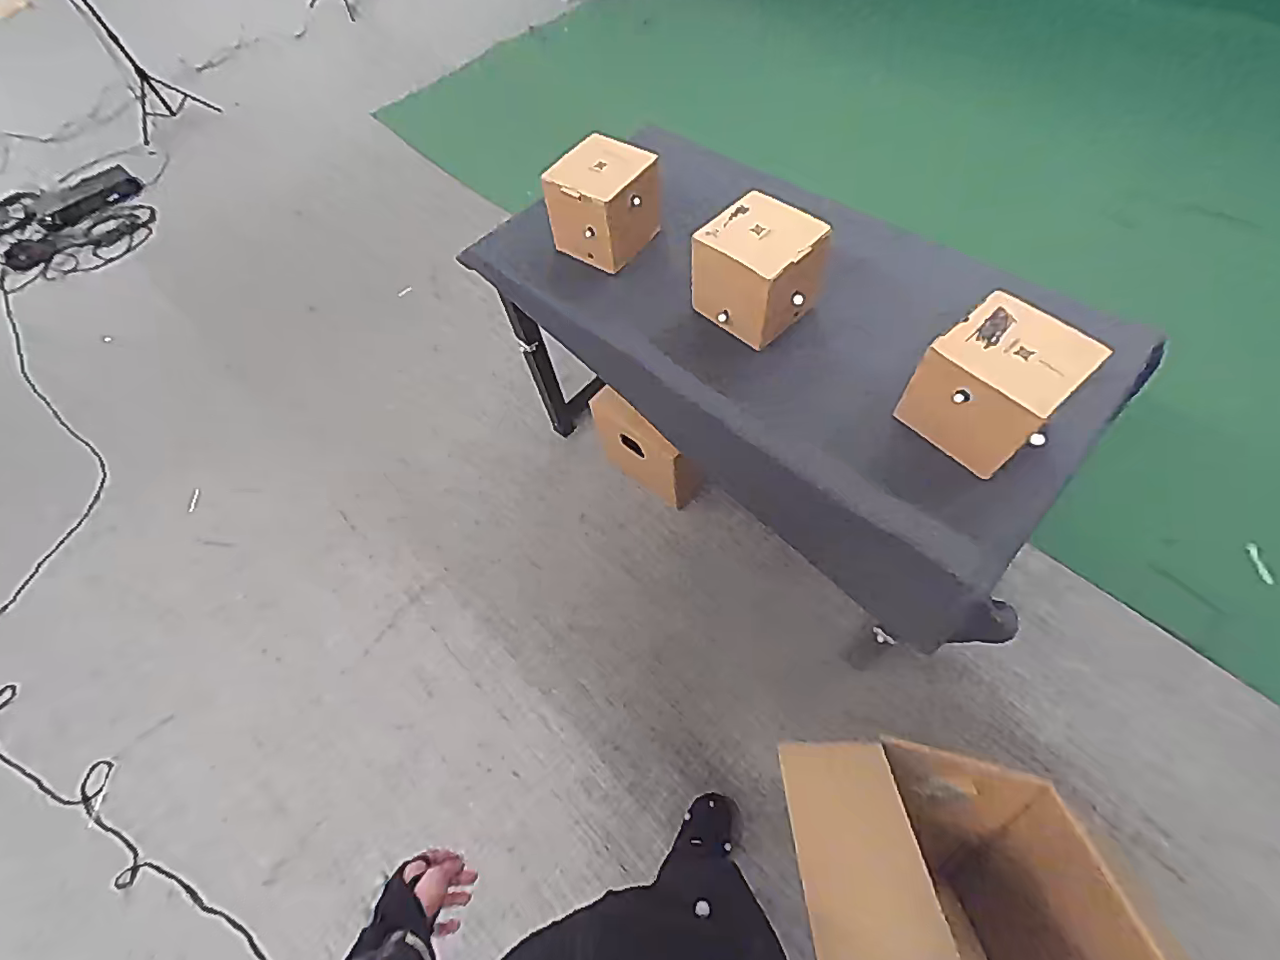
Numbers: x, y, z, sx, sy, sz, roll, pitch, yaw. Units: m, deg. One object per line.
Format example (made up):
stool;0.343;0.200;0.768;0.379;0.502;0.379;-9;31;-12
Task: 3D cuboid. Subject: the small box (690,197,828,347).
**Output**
small box;0.211;-0.373;0.994;0.168;0.176;0.179;-41;65;-16

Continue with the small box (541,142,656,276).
small box;-0.076;-0.562;1.132;0.168;0.176;0.179;31;66;19

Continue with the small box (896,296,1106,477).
small box;0.530;-0.137;0.824;0.168;0.176;0.179;-38;64;-14
